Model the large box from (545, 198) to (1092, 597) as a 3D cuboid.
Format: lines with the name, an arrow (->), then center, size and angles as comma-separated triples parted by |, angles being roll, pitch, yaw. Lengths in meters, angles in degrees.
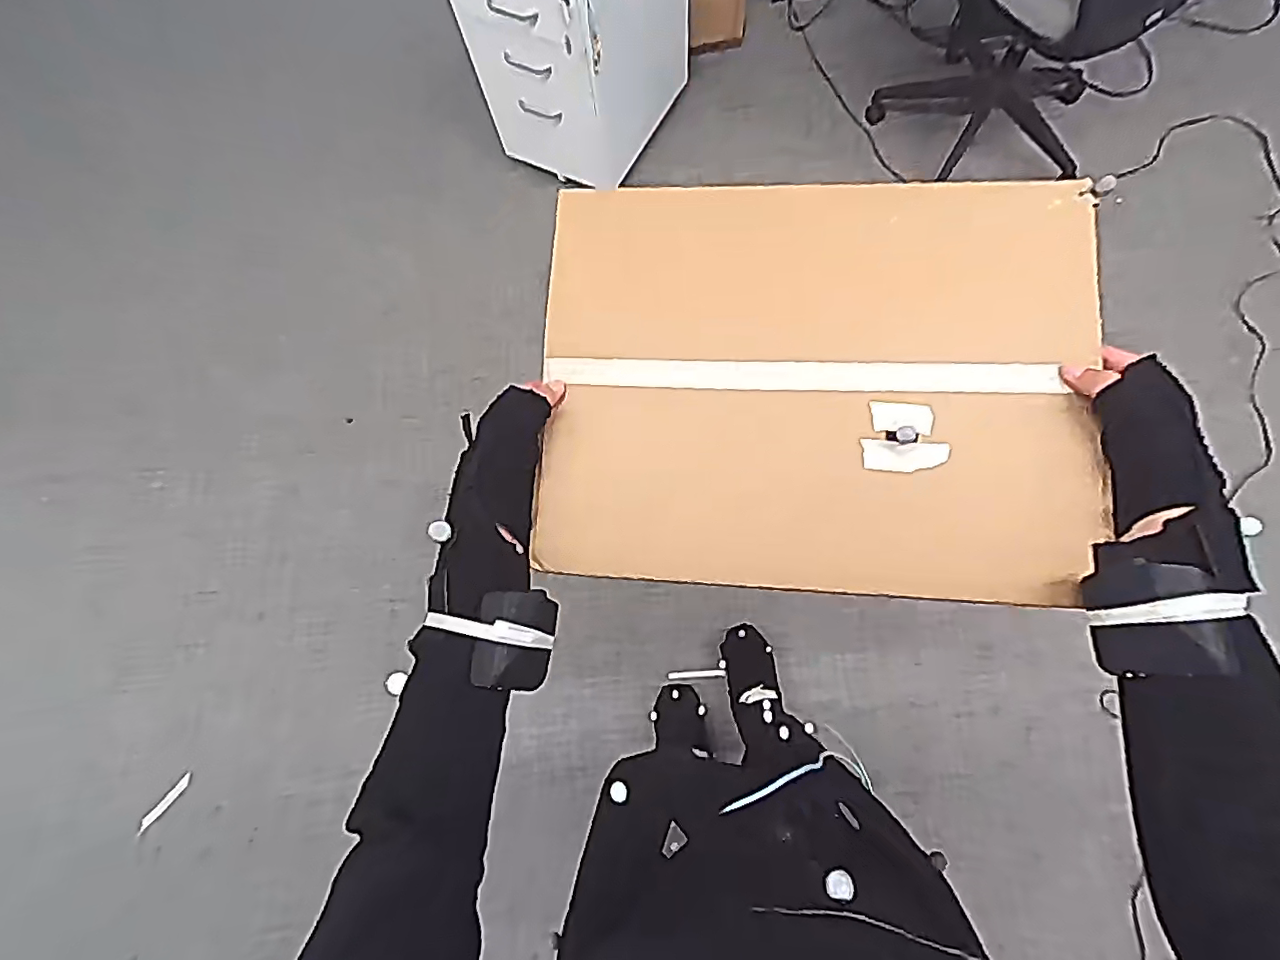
large box -> 0.141, -0.054, 0.565 | 0.408, 0.320, 0.320 | 2, 83, 6
